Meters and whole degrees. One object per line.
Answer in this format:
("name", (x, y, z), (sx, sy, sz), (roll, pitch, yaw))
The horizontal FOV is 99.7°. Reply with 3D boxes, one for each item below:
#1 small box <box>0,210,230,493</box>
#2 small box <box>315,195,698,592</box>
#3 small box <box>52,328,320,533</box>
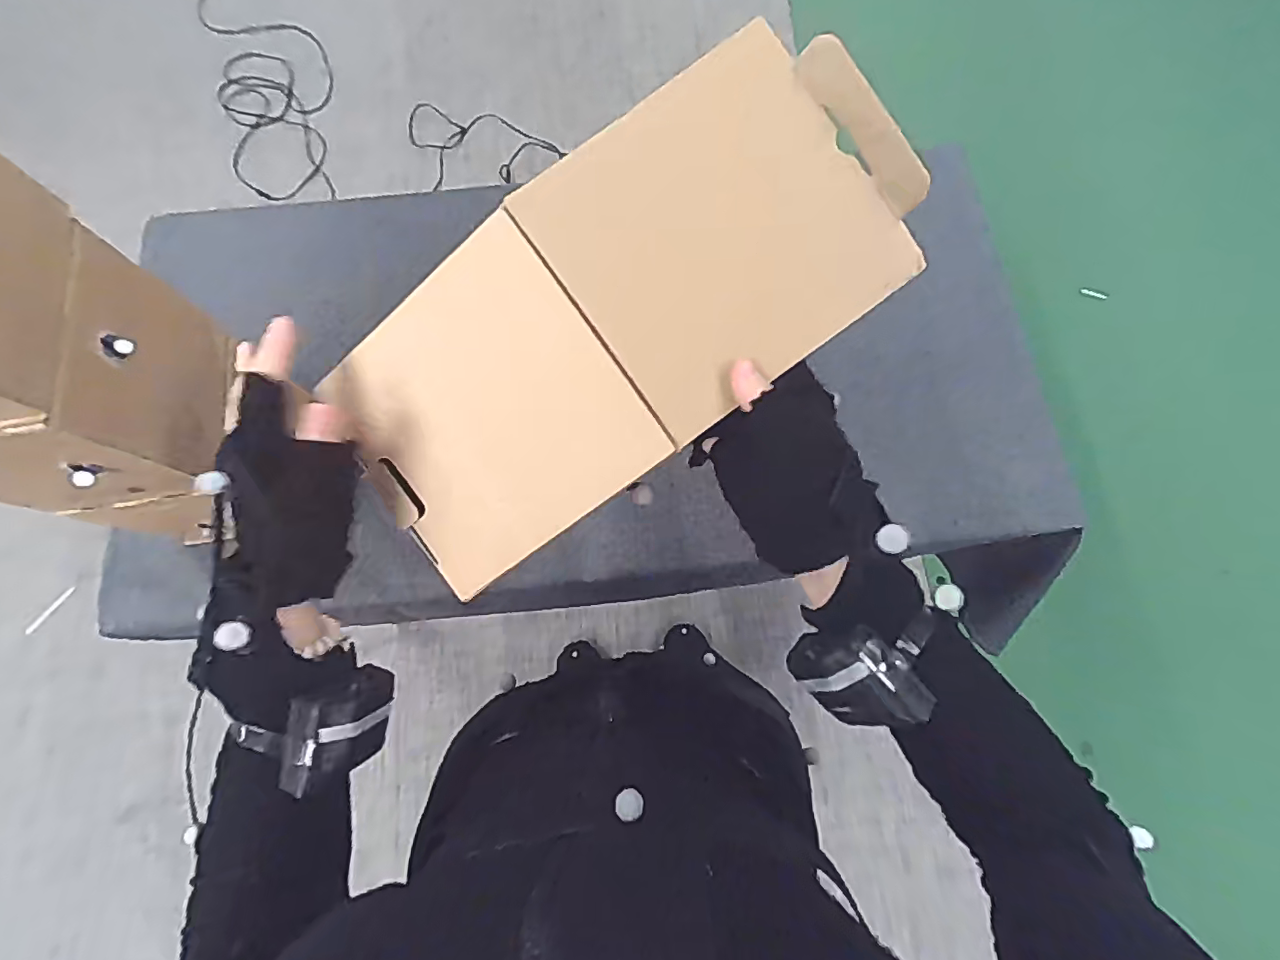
("small box", (-0.494, -0.092, 0.464), (0.168, 0.176, 0.179), (-8, 75, -3))
("small box", (-0.071, -0.057, 0.388), (0.179, 0.176, 0.168), (-35, 93, 16))
("small box", (-0.496, -0.047, 0.621), (0.168, 0.176, 0.179), (-9, 75, -2))
